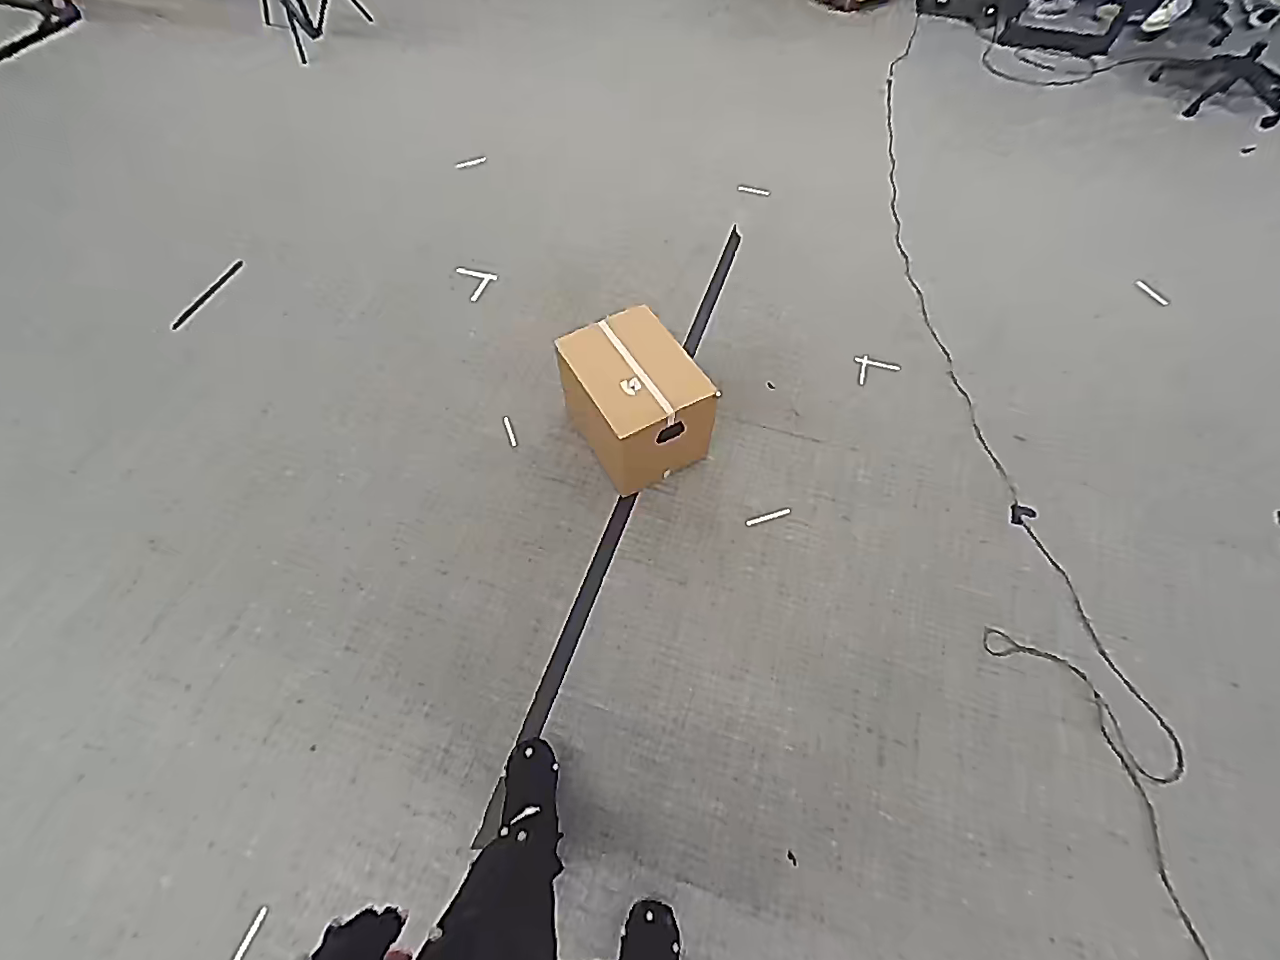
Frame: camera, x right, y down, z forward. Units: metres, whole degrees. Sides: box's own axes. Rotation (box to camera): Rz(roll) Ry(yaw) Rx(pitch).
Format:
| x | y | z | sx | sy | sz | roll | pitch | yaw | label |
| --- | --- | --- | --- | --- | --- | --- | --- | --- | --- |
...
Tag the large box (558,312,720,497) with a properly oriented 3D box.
| x | y | z | sx | sy | sz | roll | pitch | yaw | label |
| --- | --- | --- | --- | --- | --- | --- | --- | --- | --- |
| -0.015 | -0.228 | 1.647 | 0.320 | 0.320 | 0.408 | -26 | 64 | -15 | large box |
